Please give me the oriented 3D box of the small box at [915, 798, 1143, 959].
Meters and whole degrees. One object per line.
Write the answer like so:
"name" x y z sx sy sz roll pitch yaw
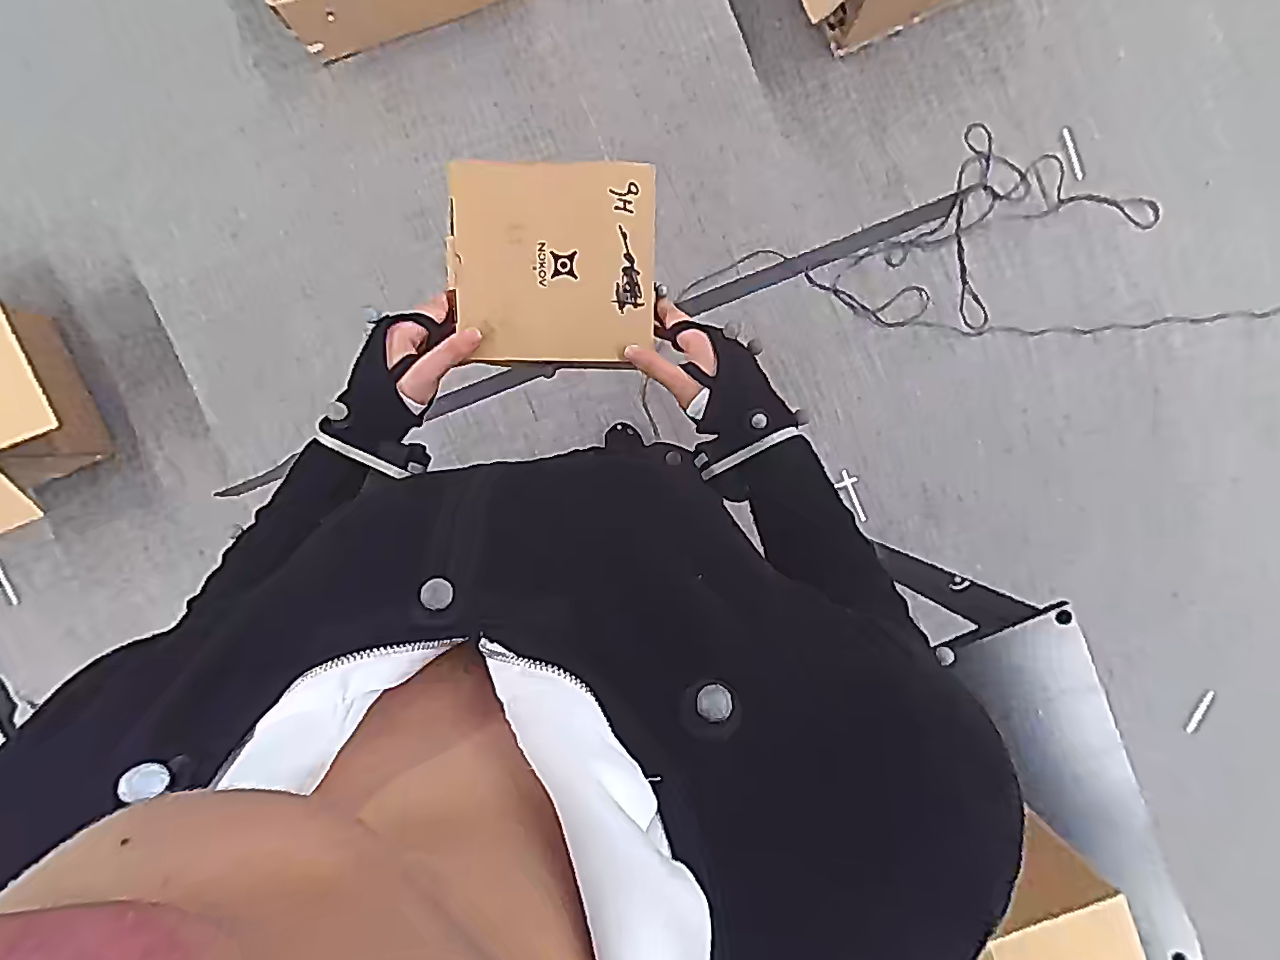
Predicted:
"small box" 0.519 0.578 0.737 0.179 0.176 0.168 -21 94 1

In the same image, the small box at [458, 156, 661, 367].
"small box" -0.071 -0.205 0.551 0.179 0.176 0.168 1 99 -1
